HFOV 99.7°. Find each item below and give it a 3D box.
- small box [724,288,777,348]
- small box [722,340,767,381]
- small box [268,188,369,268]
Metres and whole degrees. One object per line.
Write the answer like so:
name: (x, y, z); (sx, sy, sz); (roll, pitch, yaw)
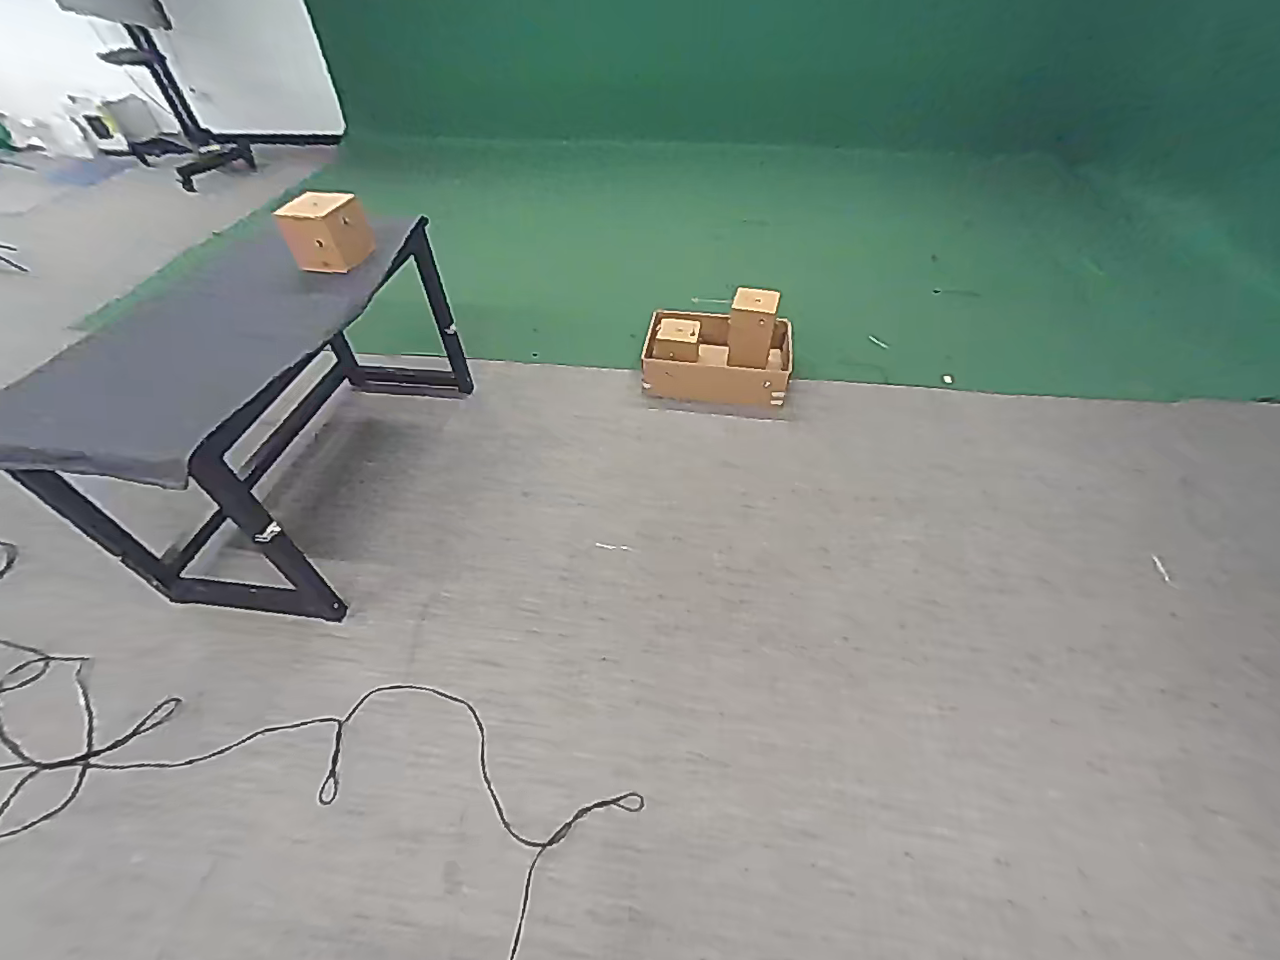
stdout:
small box: (0.450, -0.662, 2.220); (0.179, 0.176, 0.168); (12, 49, 12)
small box: (0.453, -0.556, 2.346); (0.168, 0.176, 0.179); (11, 51, 12)
small box: (-0.951, -0.754, 1.622); (0.168, 0.176, 0.179); (8, 47, 8)
